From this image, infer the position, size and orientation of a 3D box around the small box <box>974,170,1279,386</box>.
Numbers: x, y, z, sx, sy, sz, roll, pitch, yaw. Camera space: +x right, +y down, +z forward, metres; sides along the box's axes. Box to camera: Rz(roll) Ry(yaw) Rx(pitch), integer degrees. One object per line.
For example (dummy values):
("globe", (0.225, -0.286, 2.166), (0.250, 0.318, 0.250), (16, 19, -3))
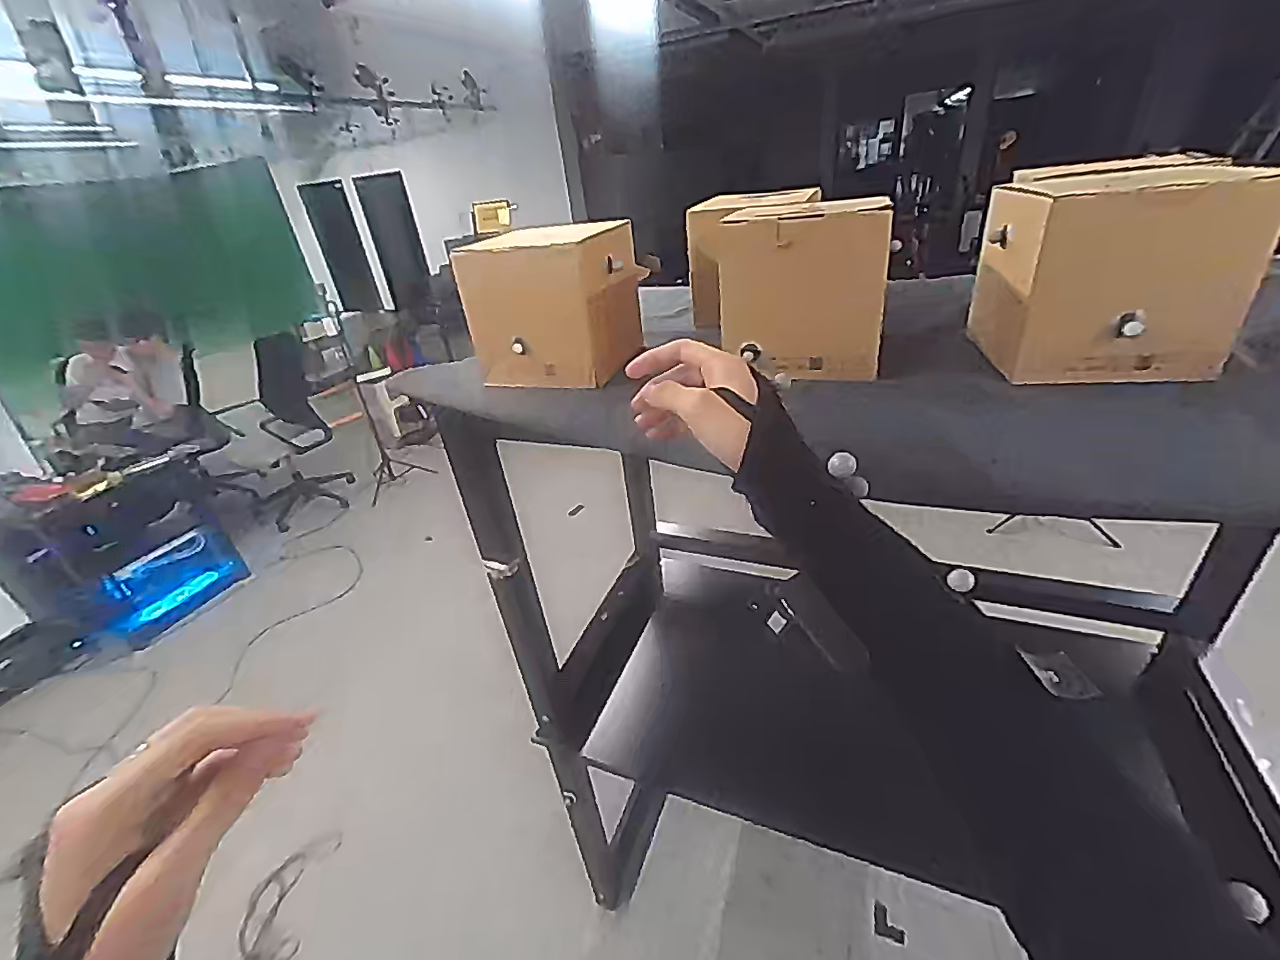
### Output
("small box", (0.457, -0.202, 0.538), (0.168, 0.176, 0.179), (2, 31, 16))

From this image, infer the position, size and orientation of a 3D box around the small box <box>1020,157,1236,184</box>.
("small box", (0.578, -0.304, 0.691), (0.179, 0.176, 0.168), (8, 32, 24))

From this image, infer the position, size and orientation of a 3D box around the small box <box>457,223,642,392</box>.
("small box", (-0.101, -0.225, 0.700), (0.168, 0.176, 0.179), (4, 33, 19))
